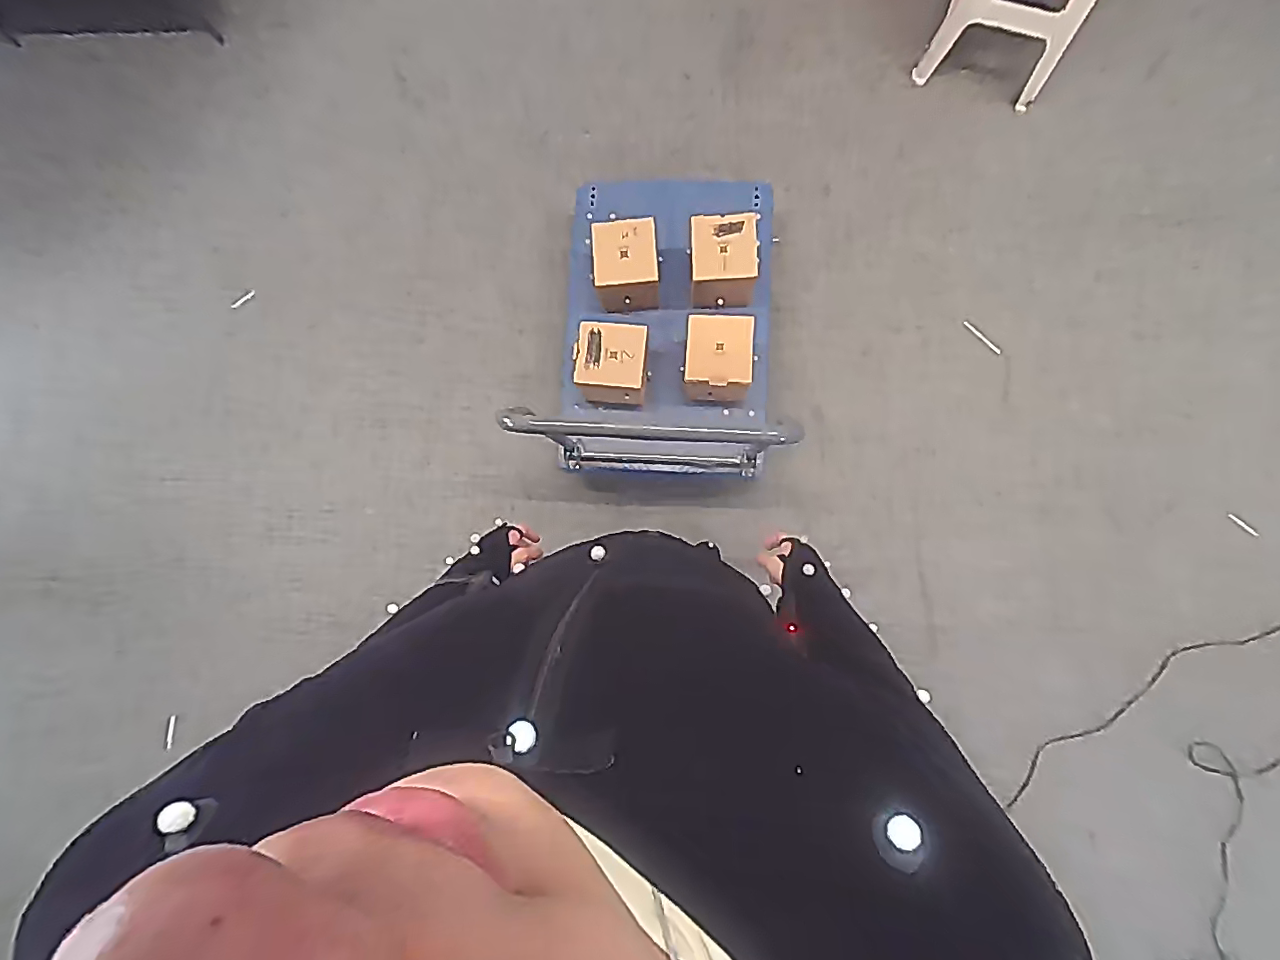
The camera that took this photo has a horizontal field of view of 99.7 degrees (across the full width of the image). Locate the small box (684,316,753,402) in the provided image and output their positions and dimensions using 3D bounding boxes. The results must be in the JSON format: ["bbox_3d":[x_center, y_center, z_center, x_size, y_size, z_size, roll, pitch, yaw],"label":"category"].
[{"bbox_3d":[0.202,-0.315,1.427,0.168,0.176,0.179,3,84,4],"label":"small box"}]

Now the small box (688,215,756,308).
[{"bbox_3d":[0.216,-0.582,1.455,0.168,0.176,0.179,-2,84,4],"label":"small box"}]

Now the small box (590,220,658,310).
[{"bbox_3d":[-0.039,-0.575,1.472,0.168,0.176,0.179,-4,83,3],"label":"small box"}]
